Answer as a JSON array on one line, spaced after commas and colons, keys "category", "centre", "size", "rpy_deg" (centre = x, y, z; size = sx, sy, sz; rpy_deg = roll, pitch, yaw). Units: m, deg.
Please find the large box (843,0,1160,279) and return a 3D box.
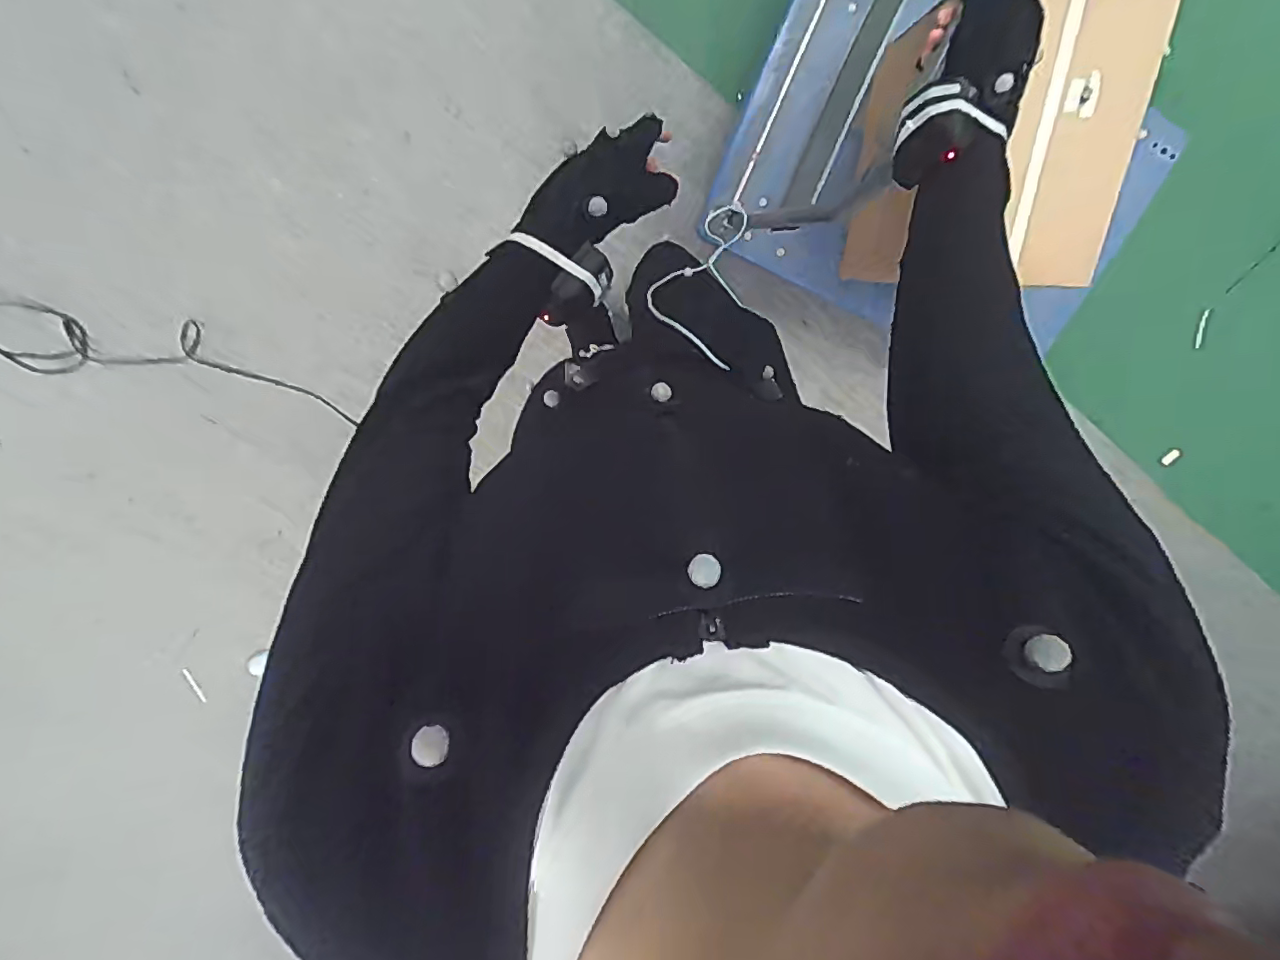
[{"category": "large box", "centre": [0.592, -0.580, 0.974], "size": [0.320, 0.320, 0.408], "rpy_deg": [1, 110, -2]}]
